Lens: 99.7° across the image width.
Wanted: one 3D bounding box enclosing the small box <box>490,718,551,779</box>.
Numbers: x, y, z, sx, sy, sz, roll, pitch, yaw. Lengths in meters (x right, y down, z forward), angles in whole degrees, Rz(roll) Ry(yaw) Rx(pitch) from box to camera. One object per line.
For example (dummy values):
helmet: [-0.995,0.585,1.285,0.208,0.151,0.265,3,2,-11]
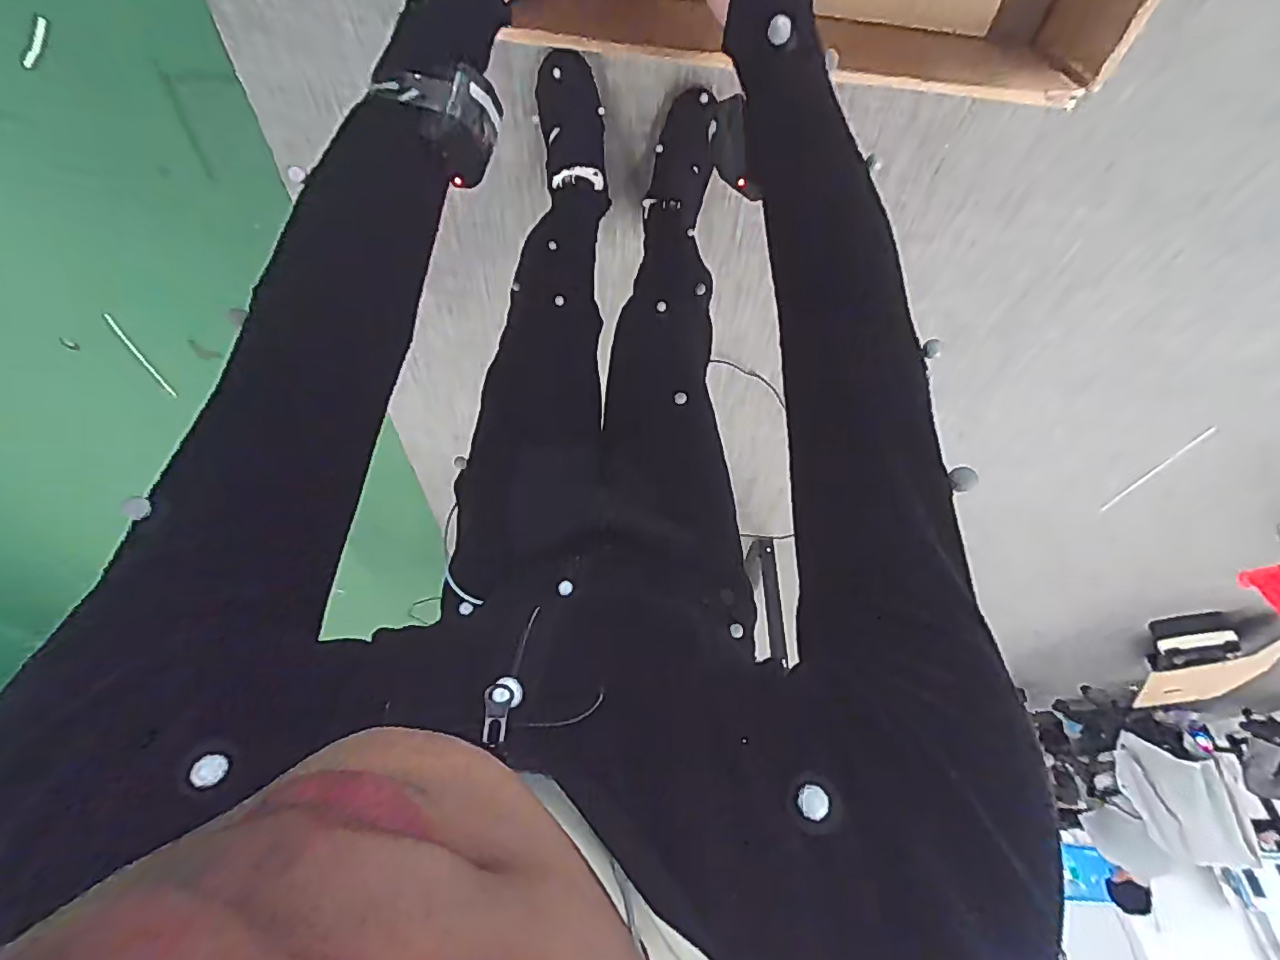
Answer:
small box: [-0.420,0.953,1.923,0.179,0.176,0.168,4,144,-2]
